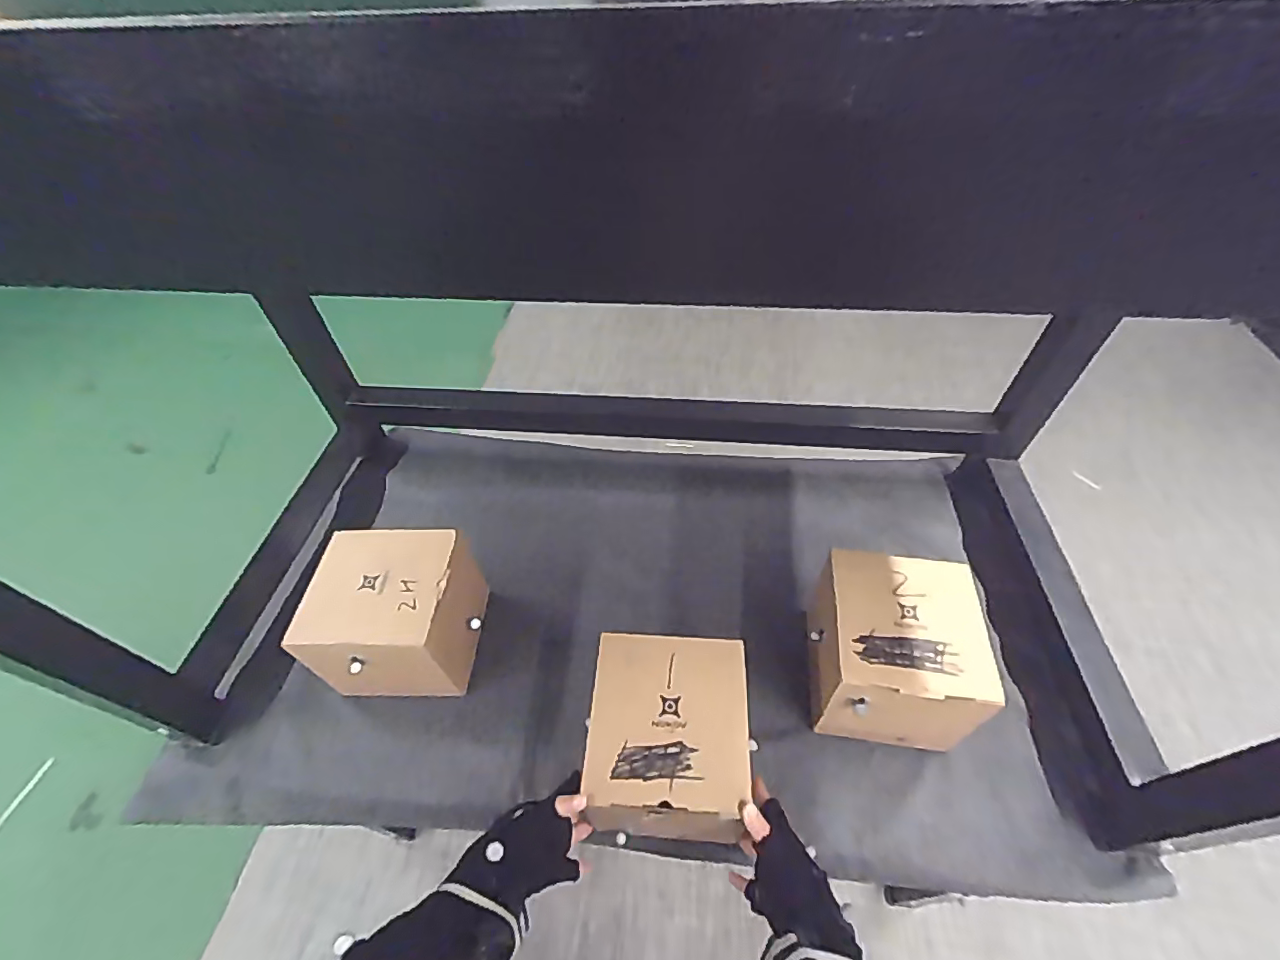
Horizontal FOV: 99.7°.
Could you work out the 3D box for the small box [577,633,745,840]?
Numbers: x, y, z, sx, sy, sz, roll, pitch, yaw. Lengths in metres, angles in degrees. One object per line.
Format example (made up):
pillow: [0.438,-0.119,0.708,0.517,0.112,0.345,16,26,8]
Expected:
small box: [0.030,0.299,0.627,0.168,0.176,0.179,3,49,5]

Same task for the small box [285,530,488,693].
small box: [-0.329,0.184,0.746,0.179,0.176,0.168,0,50,3]
